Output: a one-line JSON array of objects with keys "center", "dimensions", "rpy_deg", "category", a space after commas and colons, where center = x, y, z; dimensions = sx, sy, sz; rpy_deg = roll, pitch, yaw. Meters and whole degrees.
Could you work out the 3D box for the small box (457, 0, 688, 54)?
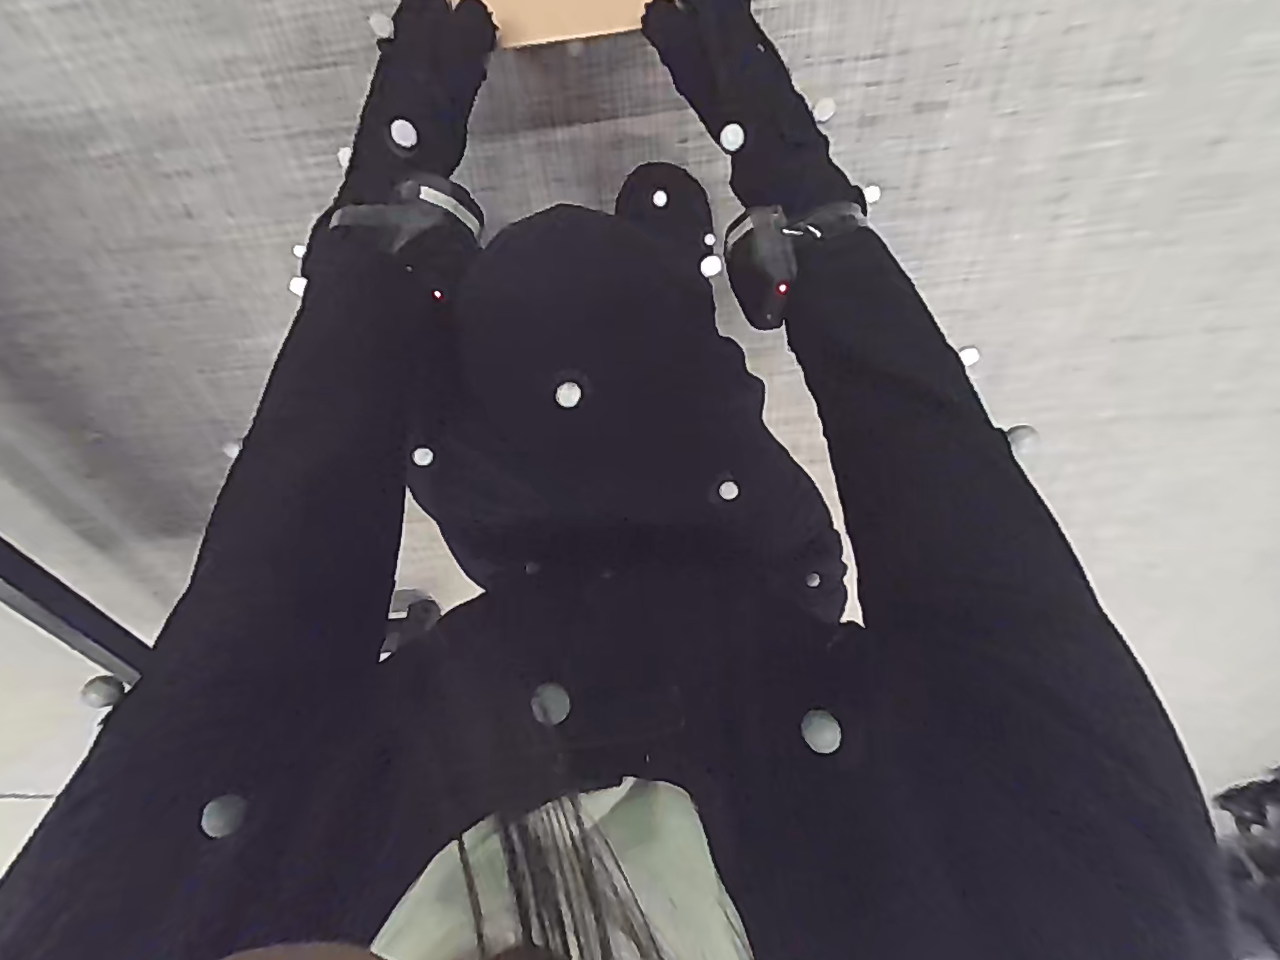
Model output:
[{"center": [-0.055, -0.441, 0.399], "dimensions": [0.168, 0.176, 0.179], "rpy_deg": [-5, 133, 5], "category": "small box"}]
